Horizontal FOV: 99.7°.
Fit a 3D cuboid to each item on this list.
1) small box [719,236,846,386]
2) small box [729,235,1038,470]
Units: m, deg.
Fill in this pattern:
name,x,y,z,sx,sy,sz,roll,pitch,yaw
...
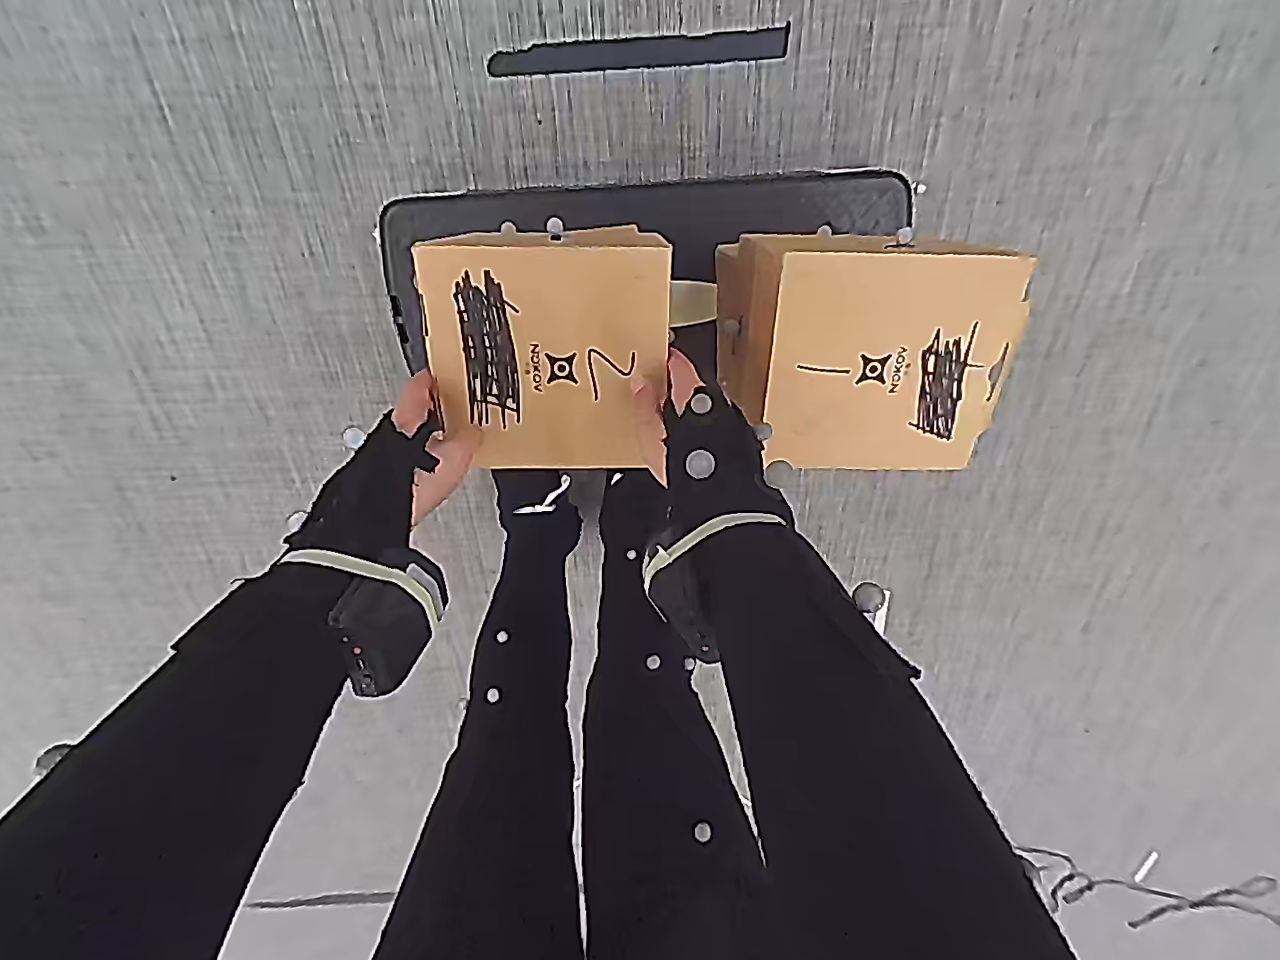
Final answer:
name,x,y,z,sx,sy,sz,roll,pitch,yaw
small box,0.185,-0.182,0.628,0.168,0.176,0.179,-5,118,1
small box,0.184,-0.120,0.475,0.179,0.176,0.168,1,117,-1
